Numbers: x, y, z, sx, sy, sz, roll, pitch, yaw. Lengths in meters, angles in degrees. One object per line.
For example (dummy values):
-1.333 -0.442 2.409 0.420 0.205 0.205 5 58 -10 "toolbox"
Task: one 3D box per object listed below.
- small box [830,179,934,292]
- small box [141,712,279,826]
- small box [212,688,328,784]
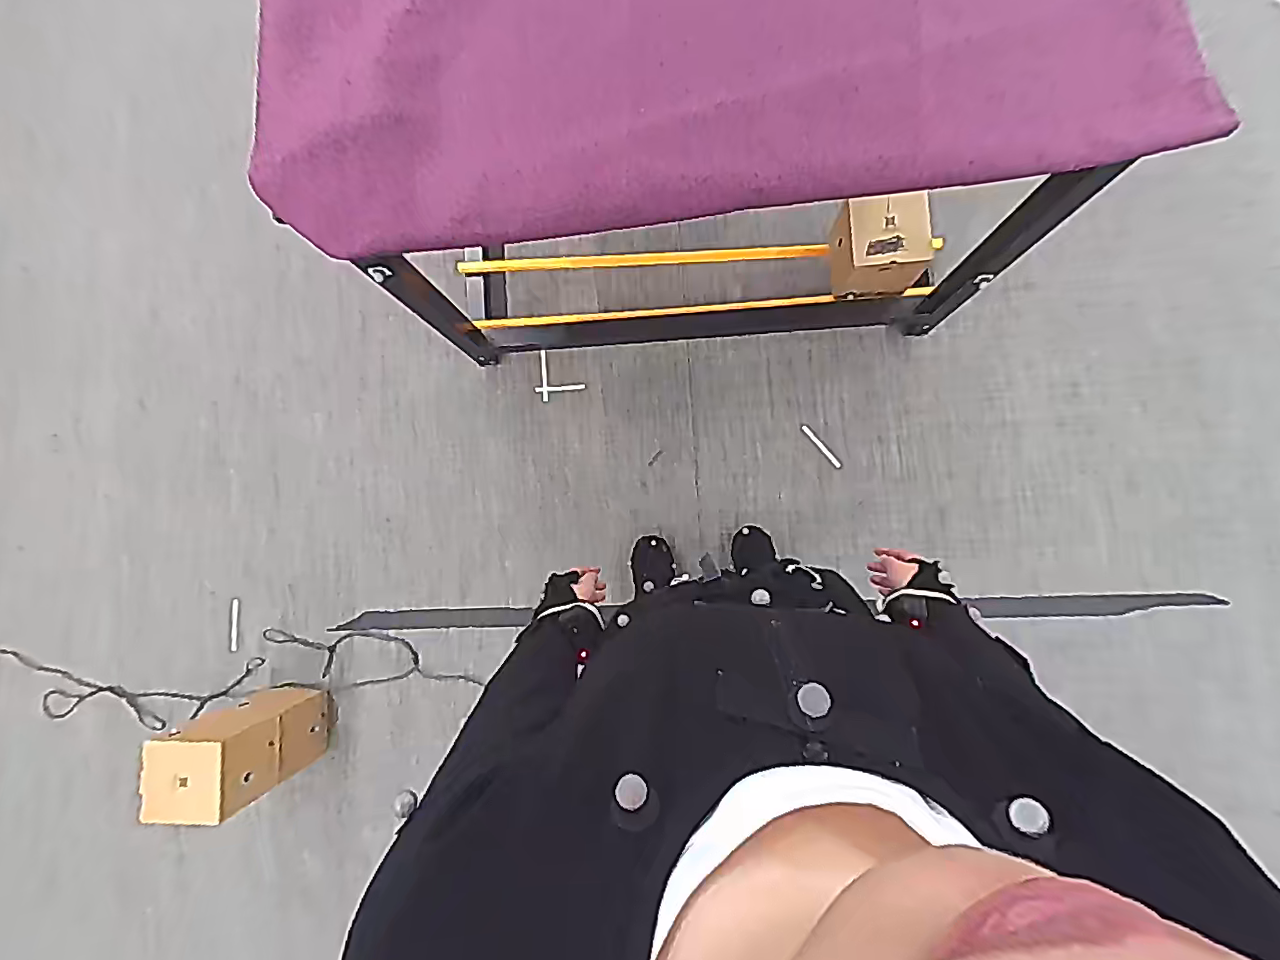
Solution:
0.532 -0.535 1.210 0.168 0.176 0.179 -3 84 5 "small box"
-0.918 0.615 1.169 0.179 0.176 0.168 -2 87 5 "small box"
-0.905 0.622 1.330 0.179 0.176 0.168 -2 87 4 "small box"
